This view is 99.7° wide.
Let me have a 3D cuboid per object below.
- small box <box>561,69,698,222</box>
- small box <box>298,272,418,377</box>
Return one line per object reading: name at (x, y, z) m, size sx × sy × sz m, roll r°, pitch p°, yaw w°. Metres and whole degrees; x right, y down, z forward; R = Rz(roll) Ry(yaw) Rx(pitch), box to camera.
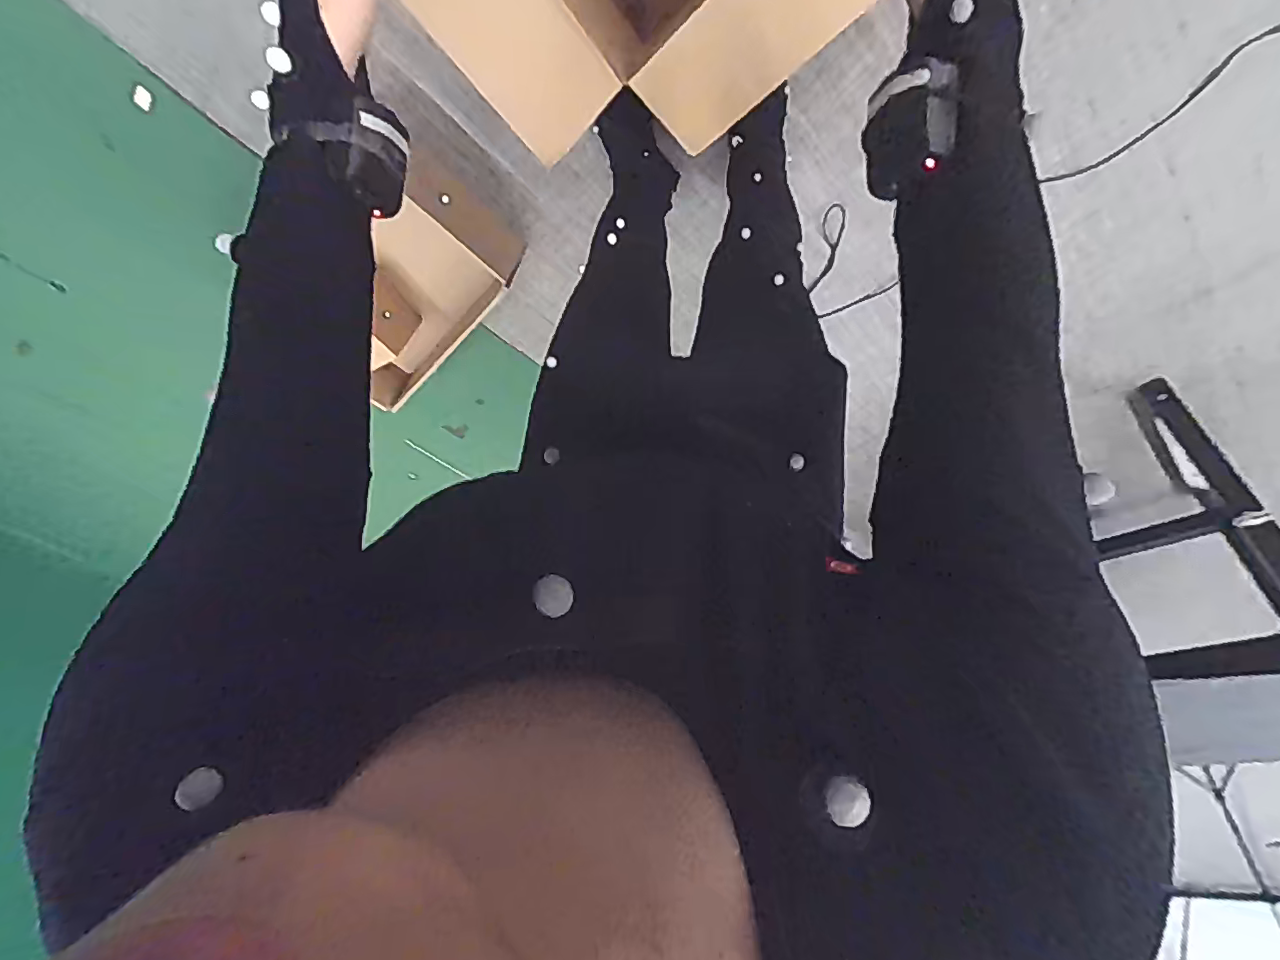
small box at (-0.017, -0.624, 1.019) m, size 0.176 × 0.168 × 0.179 m, roll 5°, pitch 124°, yaw -41°
small box at (-0.702, -0.398, 1.364) m, size 0.168 × 0.176 × 0.179 m, roll -16°, pitch 134°, yaw 26°
